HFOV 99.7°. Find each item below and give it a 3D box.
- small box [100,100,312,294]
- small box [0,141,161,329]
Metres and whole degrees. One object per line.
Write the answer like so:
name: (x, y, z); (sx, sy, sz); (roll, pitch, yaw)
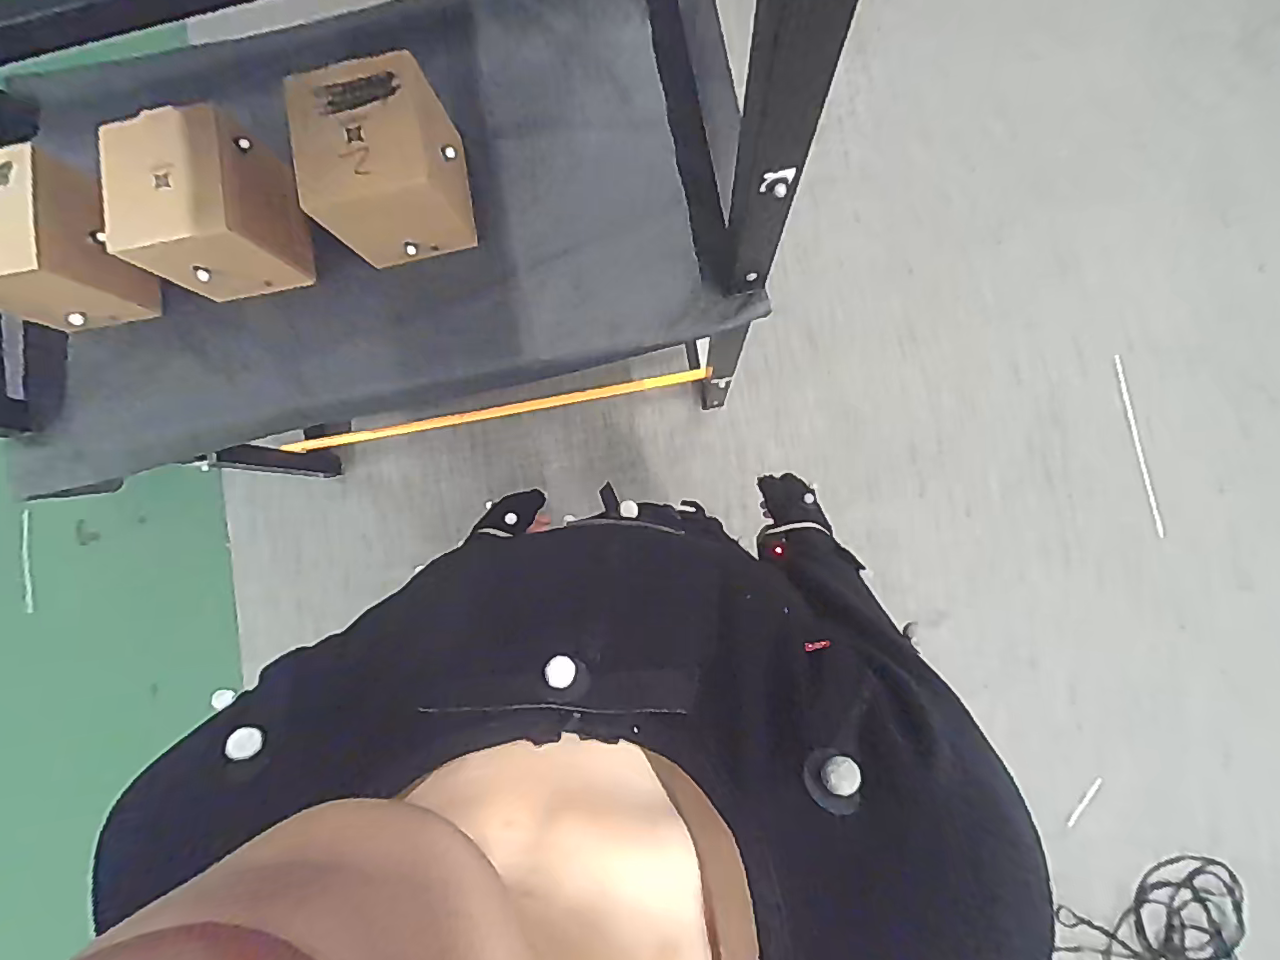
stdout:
small box: (-0.597, -0.381, 0.765); (0.168, 0.176, 0.179); (-9, 85, 4)
small box: (-0.846, -0.339, 0.780); (0.168, 0.176, 0.179); (-9, 86, 4)
